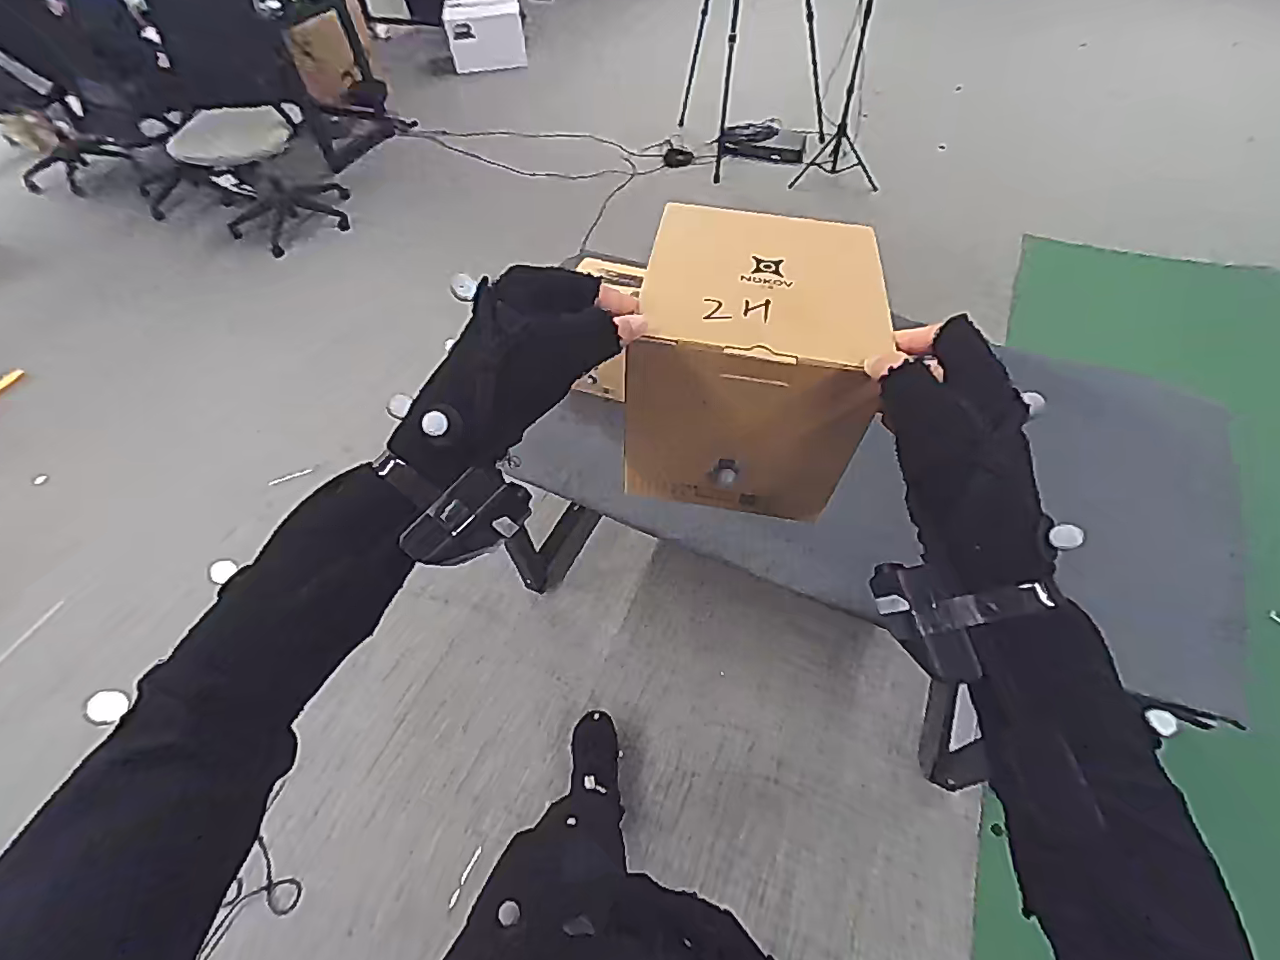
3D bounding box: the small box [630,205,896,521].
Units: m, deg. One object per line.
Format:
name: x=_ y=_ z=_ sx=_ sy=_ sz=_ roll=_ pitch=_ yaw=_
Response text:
small box: x=0.086 y=-0.093 z=0.445 sx=0.168 sy=0.176 sz=0.179 roll=10 pitch=53 yaw=5
